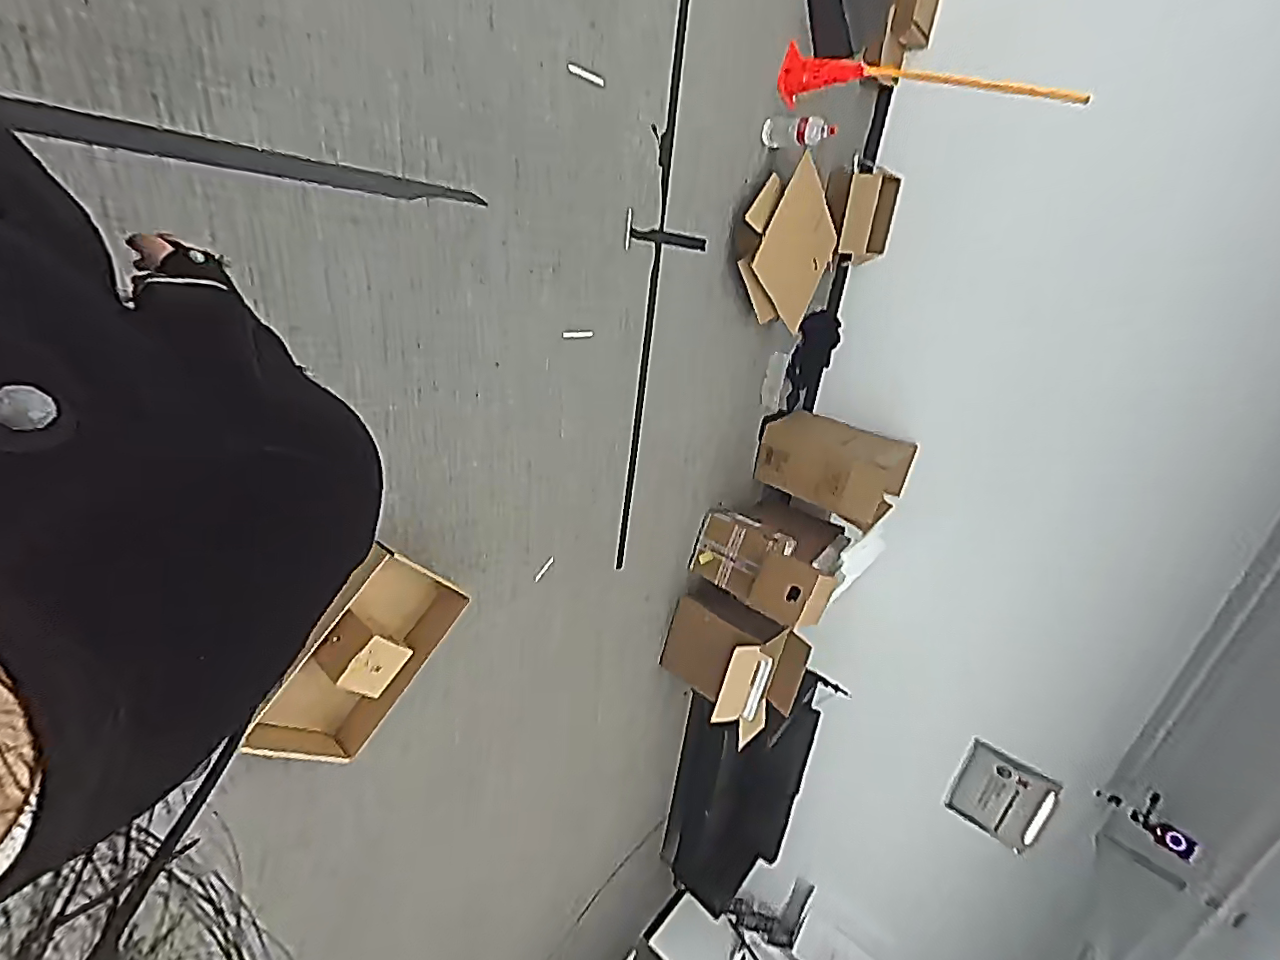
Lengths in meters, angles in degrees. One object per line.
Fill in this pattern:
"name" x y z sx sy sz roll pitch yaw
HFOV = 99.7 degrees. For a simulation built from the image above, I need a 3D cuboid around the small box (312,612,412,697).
"small box" -0.844 0.526 1.643 0.168 0.176 0.179 -54 145 -18
